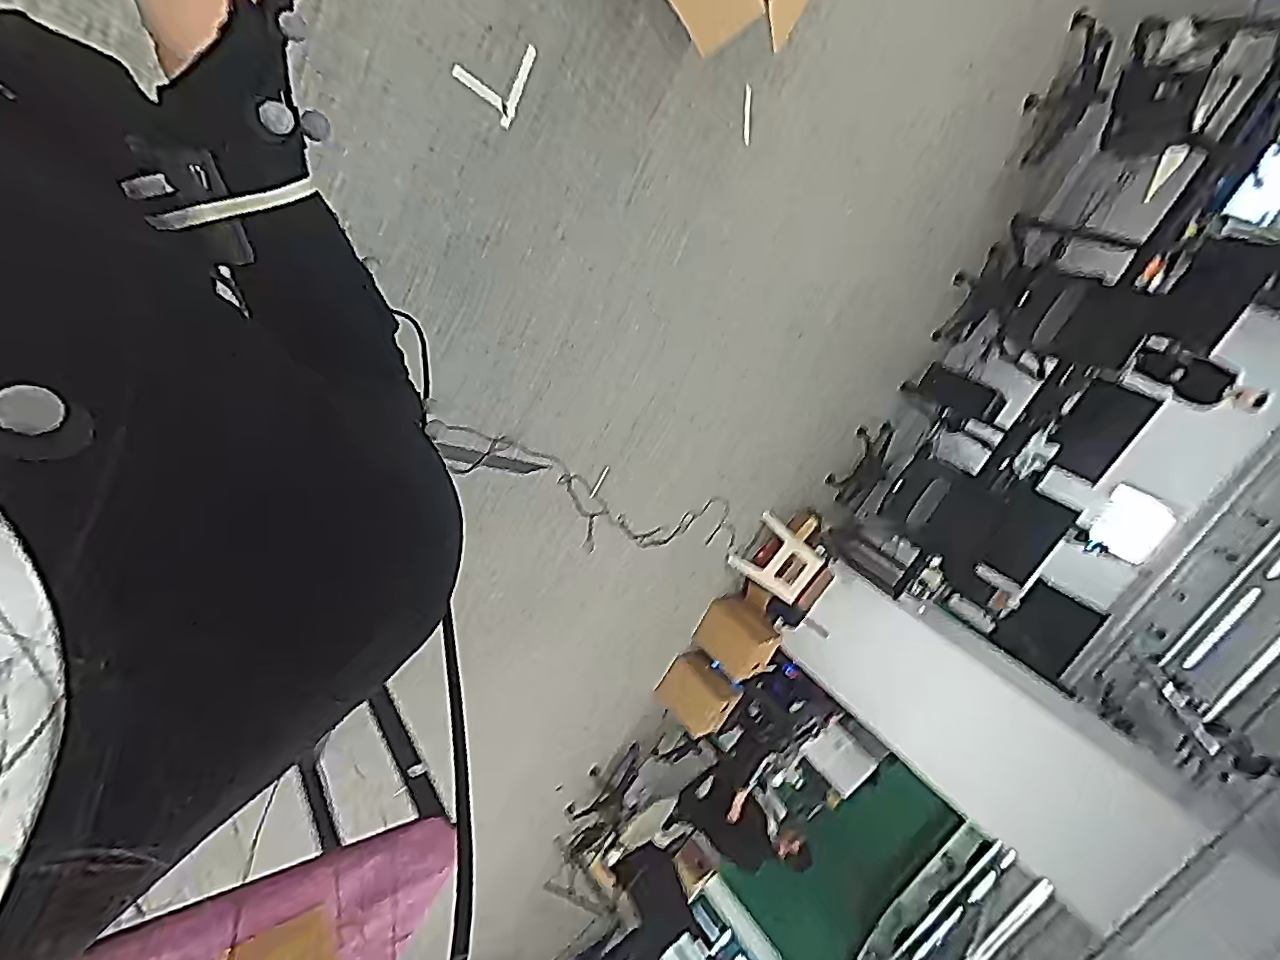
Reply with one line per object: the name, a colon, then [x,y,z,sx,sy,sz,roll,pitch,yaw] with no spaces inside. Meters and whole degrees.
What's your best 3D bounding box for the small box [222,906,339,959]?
small box: [-0.701,0.978,1.030,0.179,0.176,0.168,9,114,-51]
